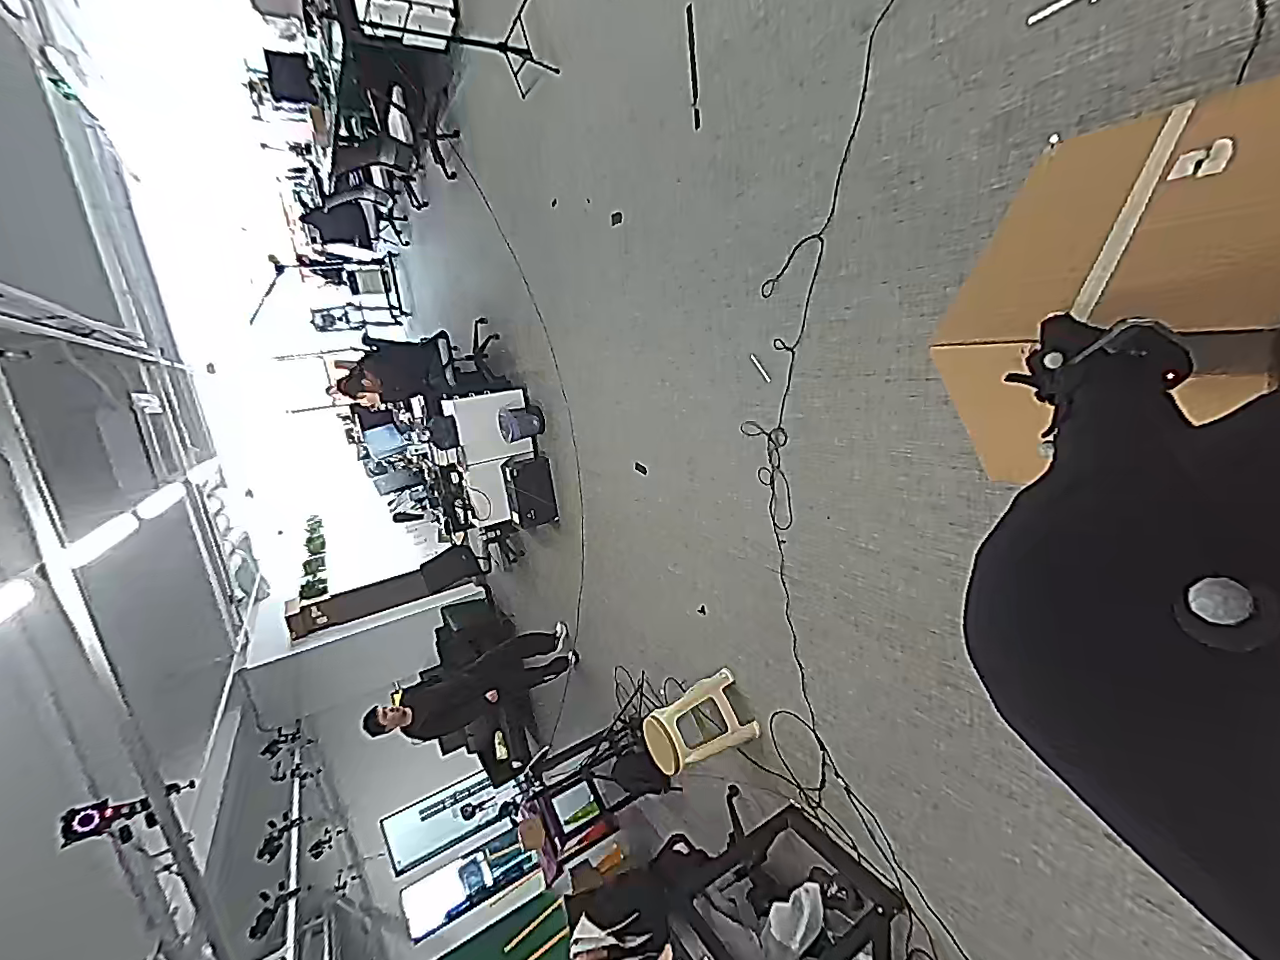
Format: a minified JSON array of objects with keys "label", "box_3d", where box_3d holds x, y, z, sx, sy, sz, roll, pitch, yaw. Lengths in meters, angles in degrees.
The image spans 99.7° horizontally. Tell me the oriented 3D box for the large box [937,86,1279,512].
[{"label":"large box","box_3d":[0.683,-0.221,0.727,0.320,0.408,0.320,44,165,-32]}]
